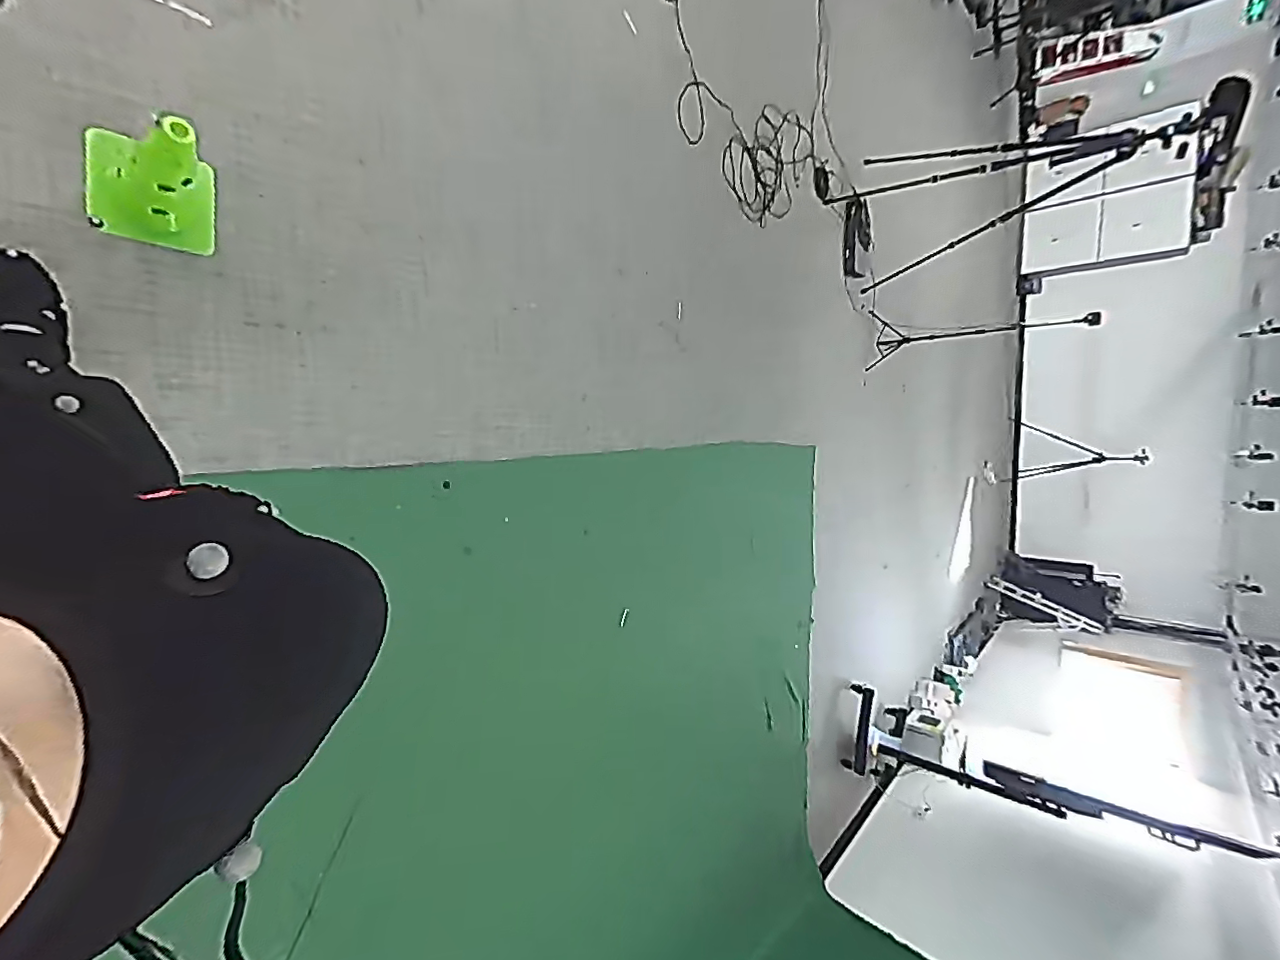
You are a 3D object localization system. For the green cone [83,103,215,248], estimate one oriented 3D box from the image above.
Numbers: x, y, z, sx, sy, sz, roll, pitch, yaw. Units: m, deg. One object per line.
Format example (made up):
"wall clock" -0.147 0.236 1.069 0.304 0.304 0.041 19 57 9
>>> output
"green cone" -0.882 -0.595 1.004 0.200 0.368 0.202 -3 94 -48
